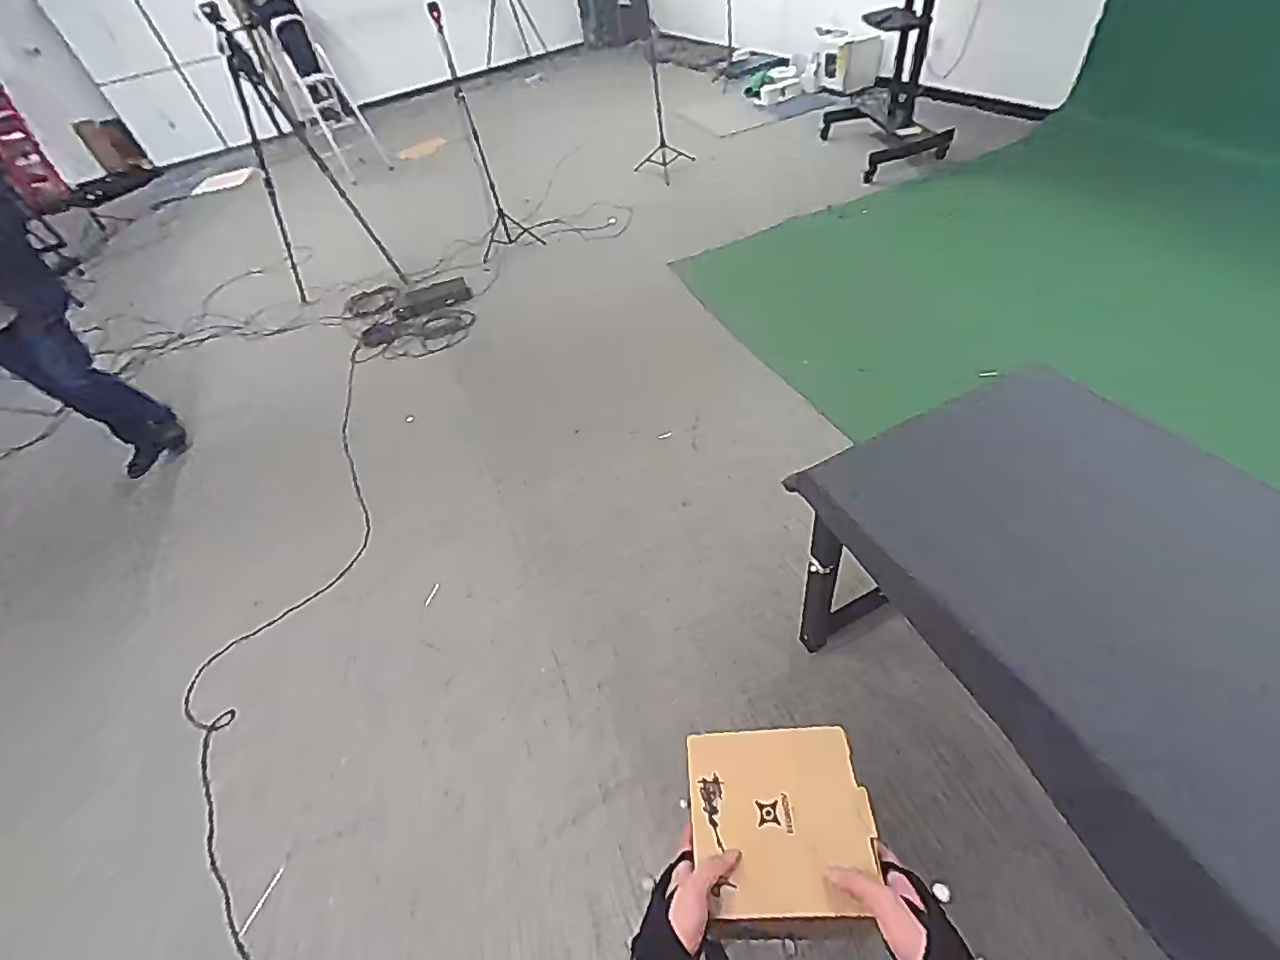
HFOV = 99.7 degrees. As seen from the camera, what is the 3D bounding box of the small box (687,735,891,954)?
[{"bbox_3d":[0.146,0.396,0.589,0.179,0.176,0.168,-6,42,6],"label":"small box"}]
